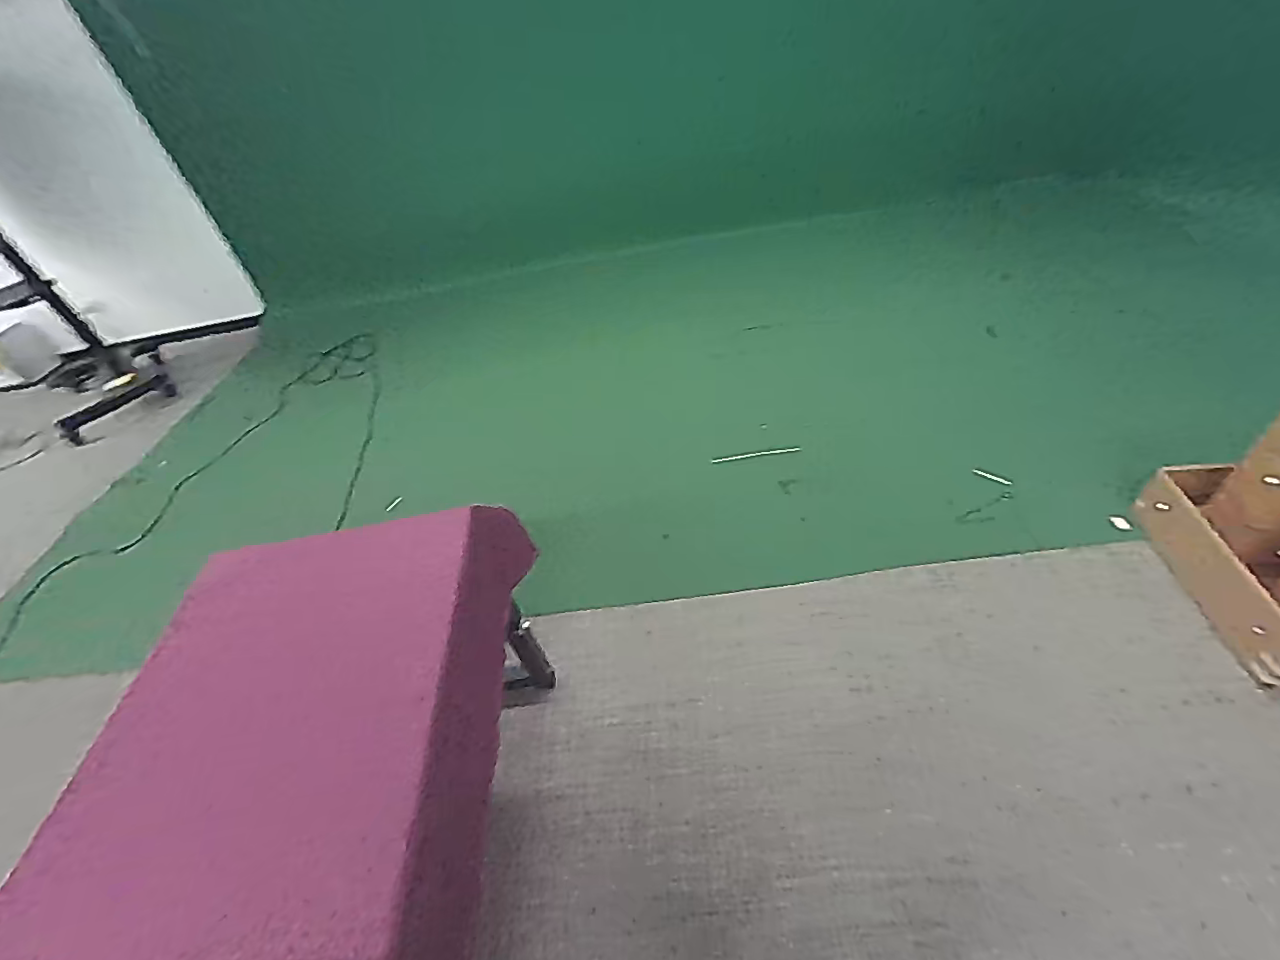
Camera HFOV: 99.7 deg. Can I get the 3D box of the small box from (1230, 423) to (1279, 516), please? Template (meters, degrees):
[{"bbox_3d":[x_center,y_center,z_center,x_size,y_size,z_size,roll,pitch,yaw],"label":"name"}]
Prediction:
[{"bbox_3d":[1.674,-0.022,1.371,0.168,0.176,0.179,4,49,19],"label":"small box"}]
